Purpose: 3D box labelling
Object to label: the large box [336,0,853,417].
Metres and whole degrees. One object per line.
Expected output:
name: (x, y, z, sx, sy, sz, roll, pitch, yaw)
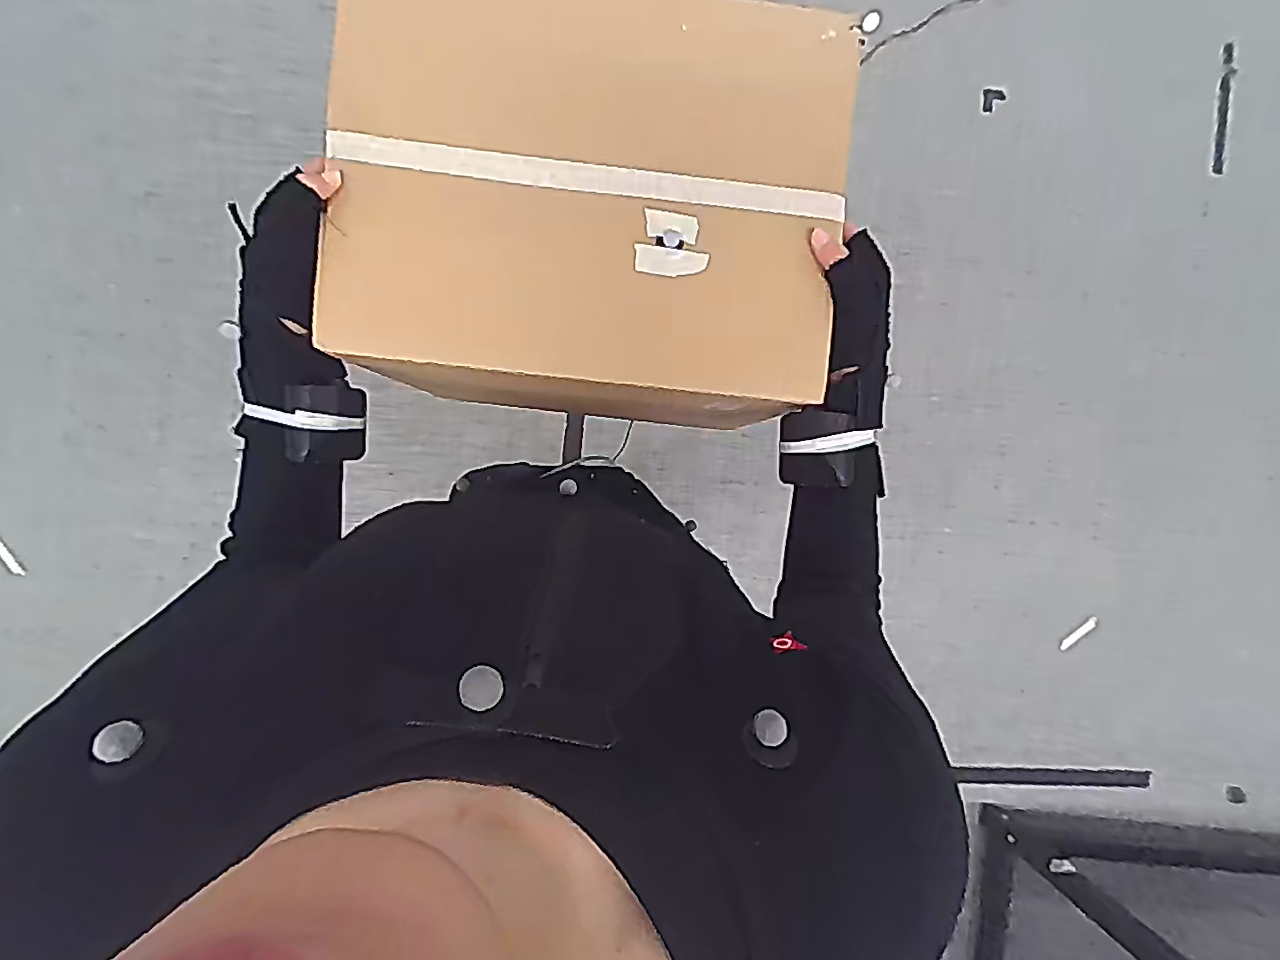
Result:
large box: (-0.044, -0.249, 0.585, 0.408, 0.320, 0.320, 5, 92, -4)
